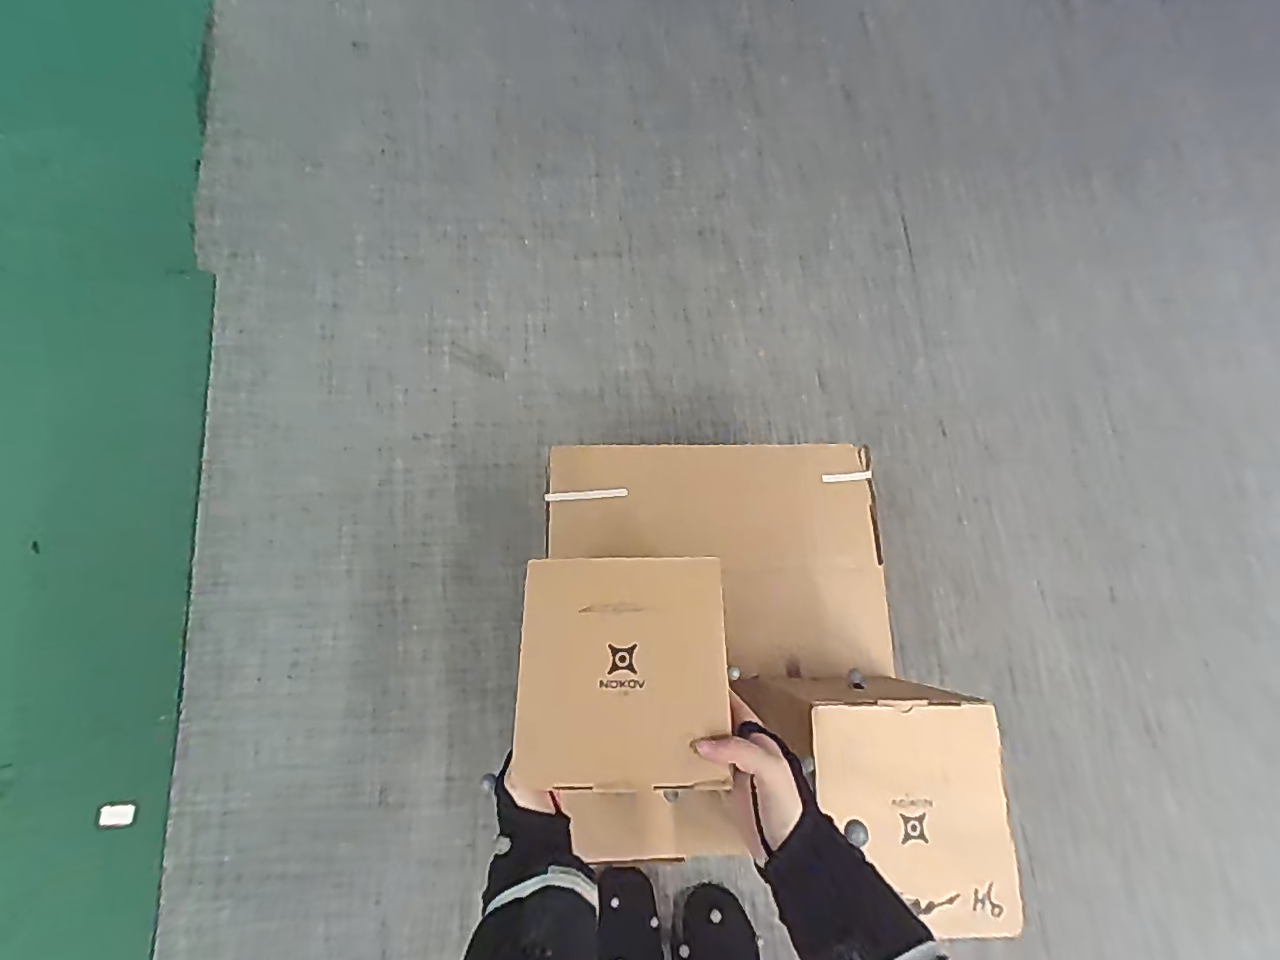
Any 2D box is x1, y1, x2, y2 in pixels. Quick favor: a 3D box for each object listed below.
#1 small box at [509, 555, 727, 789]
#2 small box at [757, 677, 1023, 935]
[{"bbox_3d":[-0.012,0.176,0.501,0.168,0.176,0.179,-1,66,2],"label":"small box"},{"bbox_3d":[0.215,0.287,0.518,0.168,0.176,0.179,1,76,-3],"label":"small box"}]
